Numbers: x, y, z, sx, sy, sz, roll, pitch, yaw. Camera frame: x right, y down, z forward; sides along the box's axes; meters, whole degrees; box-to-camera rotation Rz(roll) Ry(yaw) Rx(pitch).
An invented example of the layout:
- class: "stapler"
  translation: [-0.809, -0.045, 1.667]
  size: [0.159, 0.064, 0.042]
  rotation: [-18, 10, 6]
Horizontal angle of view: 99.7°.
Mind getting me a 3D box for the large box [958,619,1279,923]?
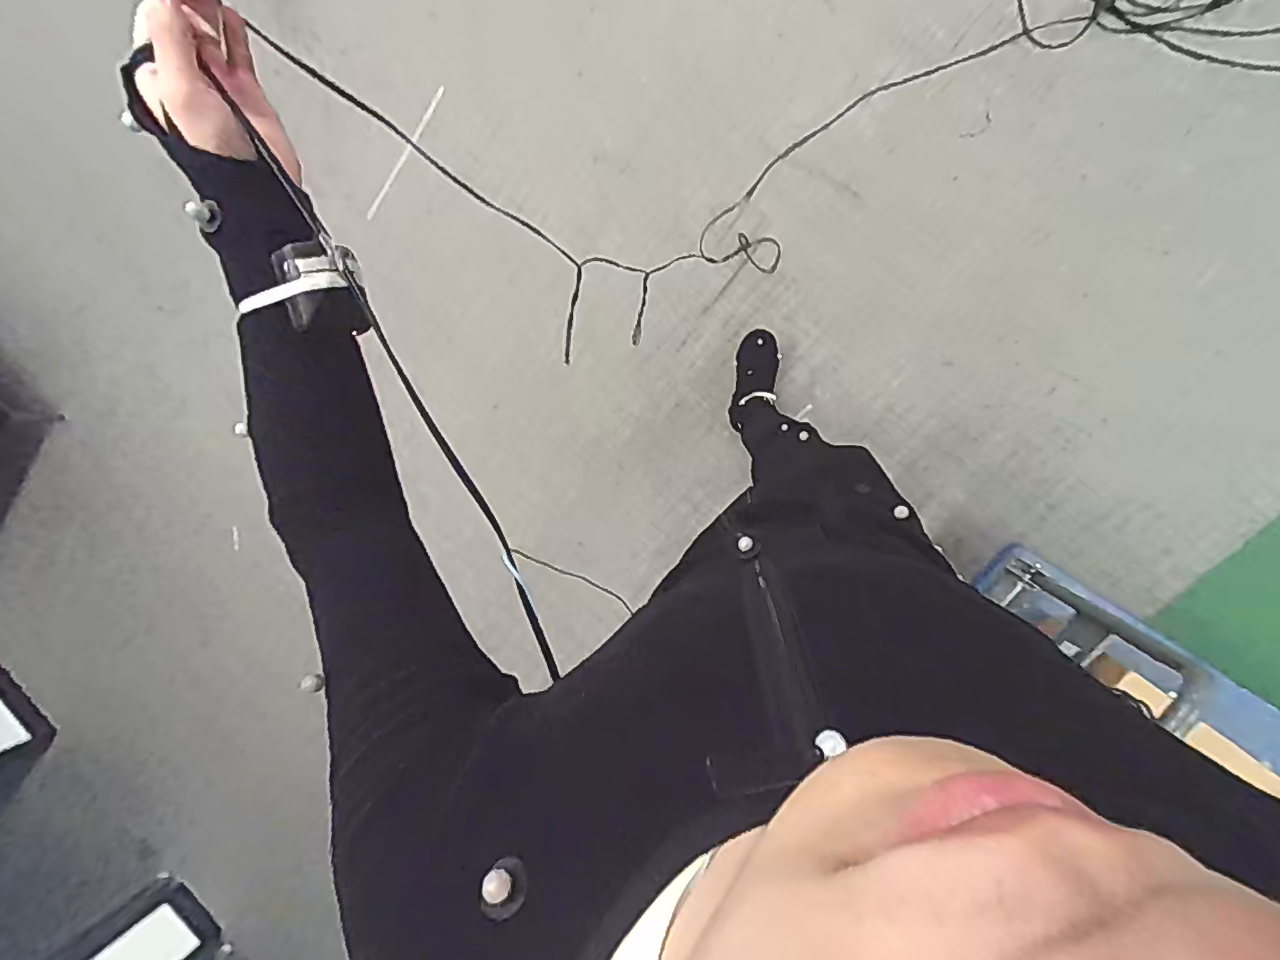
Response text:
- class: "large box"
  translation: [0.984, 0.567, 1.134]
  size: [0.408, 0.320, 0.320]
  rotation: [38, 103, 8]
